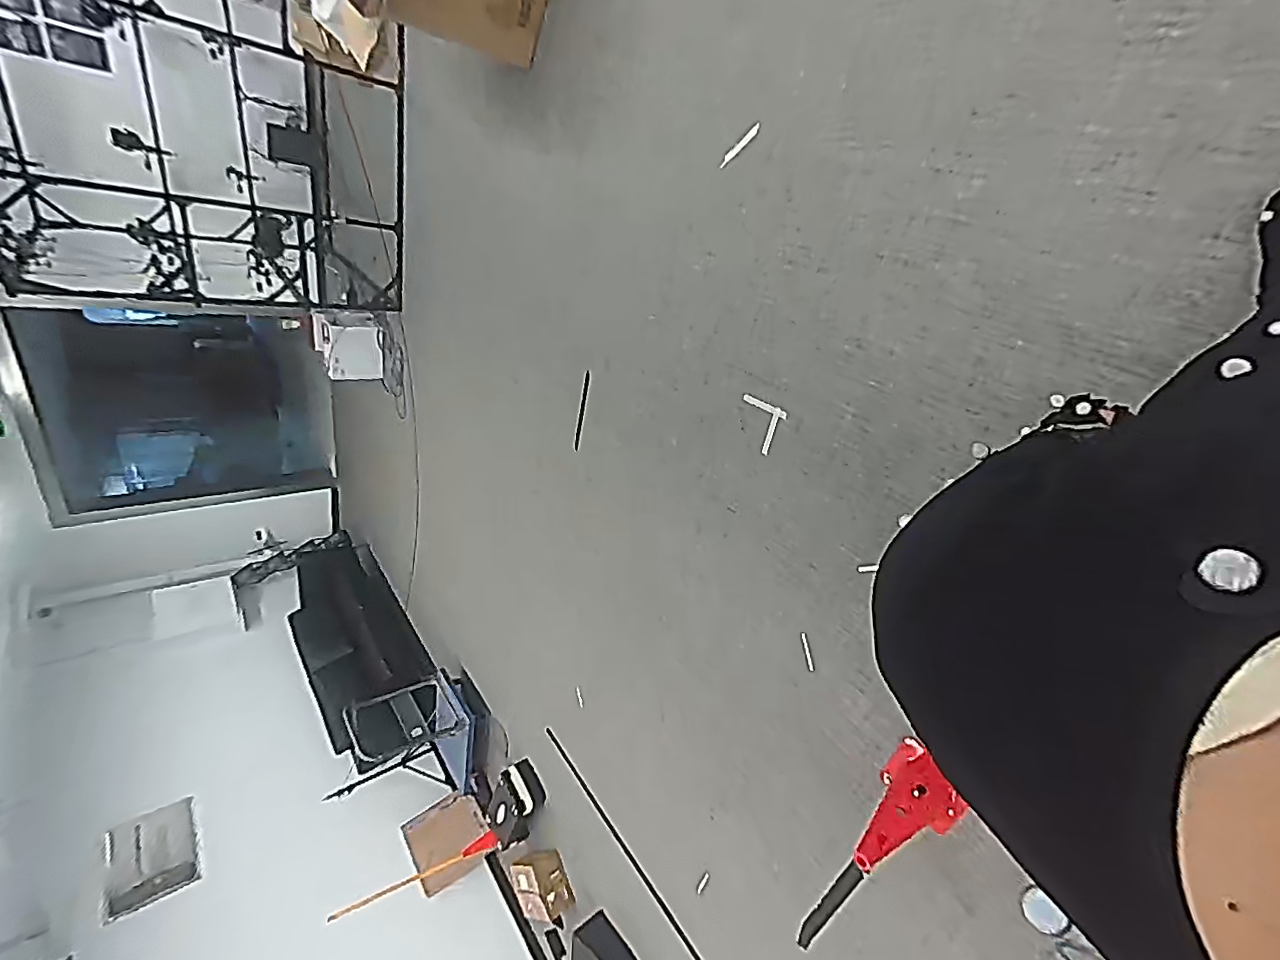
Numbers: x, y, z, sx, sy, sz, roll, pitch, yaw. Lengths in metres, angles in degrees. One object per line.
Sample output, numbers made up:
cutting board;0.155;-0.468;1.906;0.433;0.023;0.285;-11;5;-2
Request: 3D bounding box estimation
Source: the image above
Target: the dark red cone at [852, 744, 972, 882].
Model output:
dark red cone;0.639;0.865;1.353;0.201;0.394;0.202;37;125;38
